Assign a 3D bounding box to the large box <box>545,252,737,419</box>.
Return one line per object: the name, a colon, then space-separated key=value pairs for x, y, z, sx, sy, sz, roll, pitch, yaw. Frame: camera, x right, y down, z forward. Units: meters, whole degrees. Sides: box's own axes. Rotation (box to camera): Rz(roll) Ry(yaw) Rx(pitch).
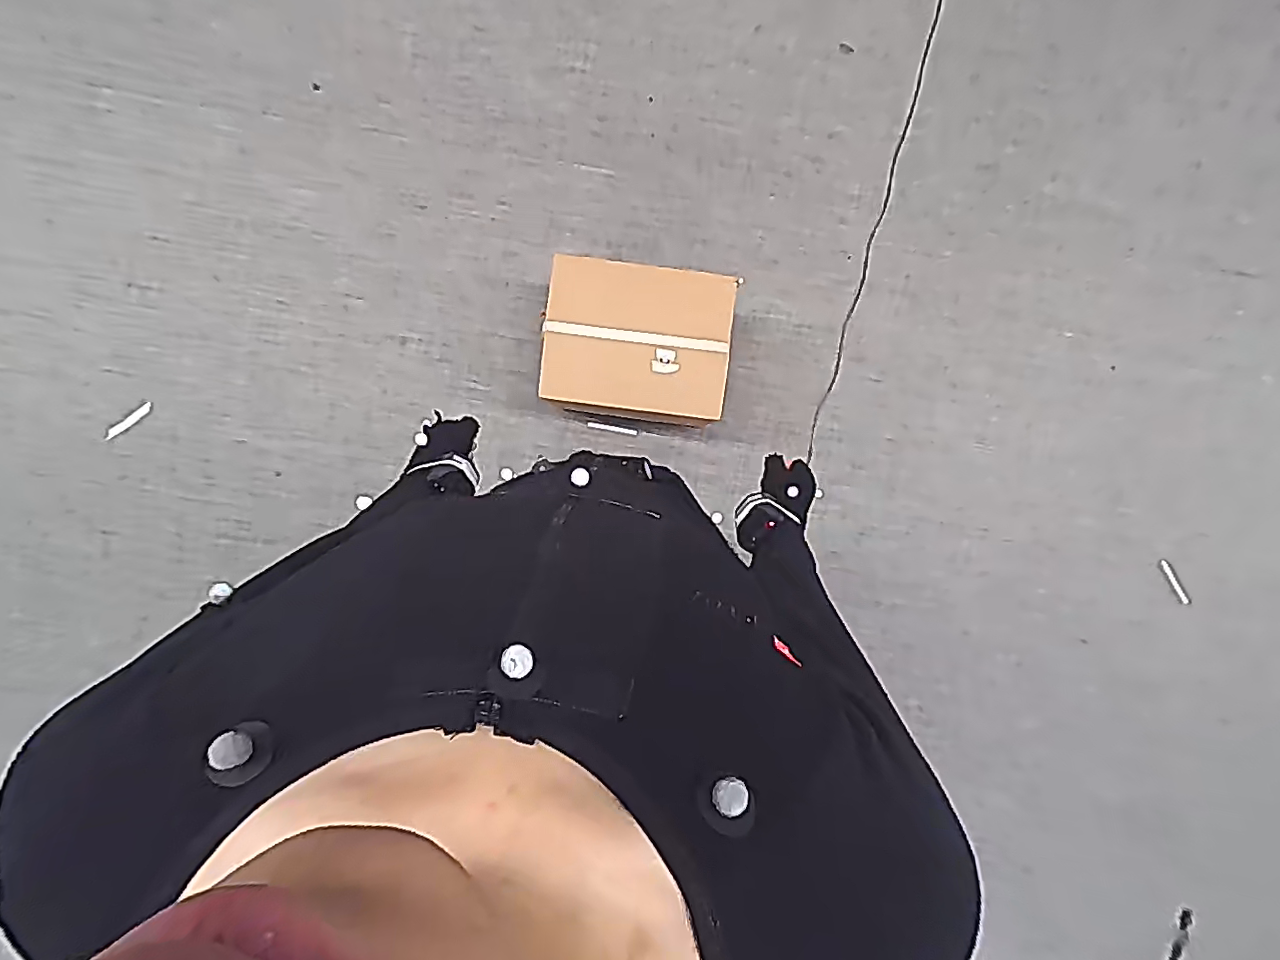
large box: x=-0.003 y=-0.332 z=1.334 sx=0.408 sy=0.320 sz=0.320 roll=7 pitch=94 yaw=-1
